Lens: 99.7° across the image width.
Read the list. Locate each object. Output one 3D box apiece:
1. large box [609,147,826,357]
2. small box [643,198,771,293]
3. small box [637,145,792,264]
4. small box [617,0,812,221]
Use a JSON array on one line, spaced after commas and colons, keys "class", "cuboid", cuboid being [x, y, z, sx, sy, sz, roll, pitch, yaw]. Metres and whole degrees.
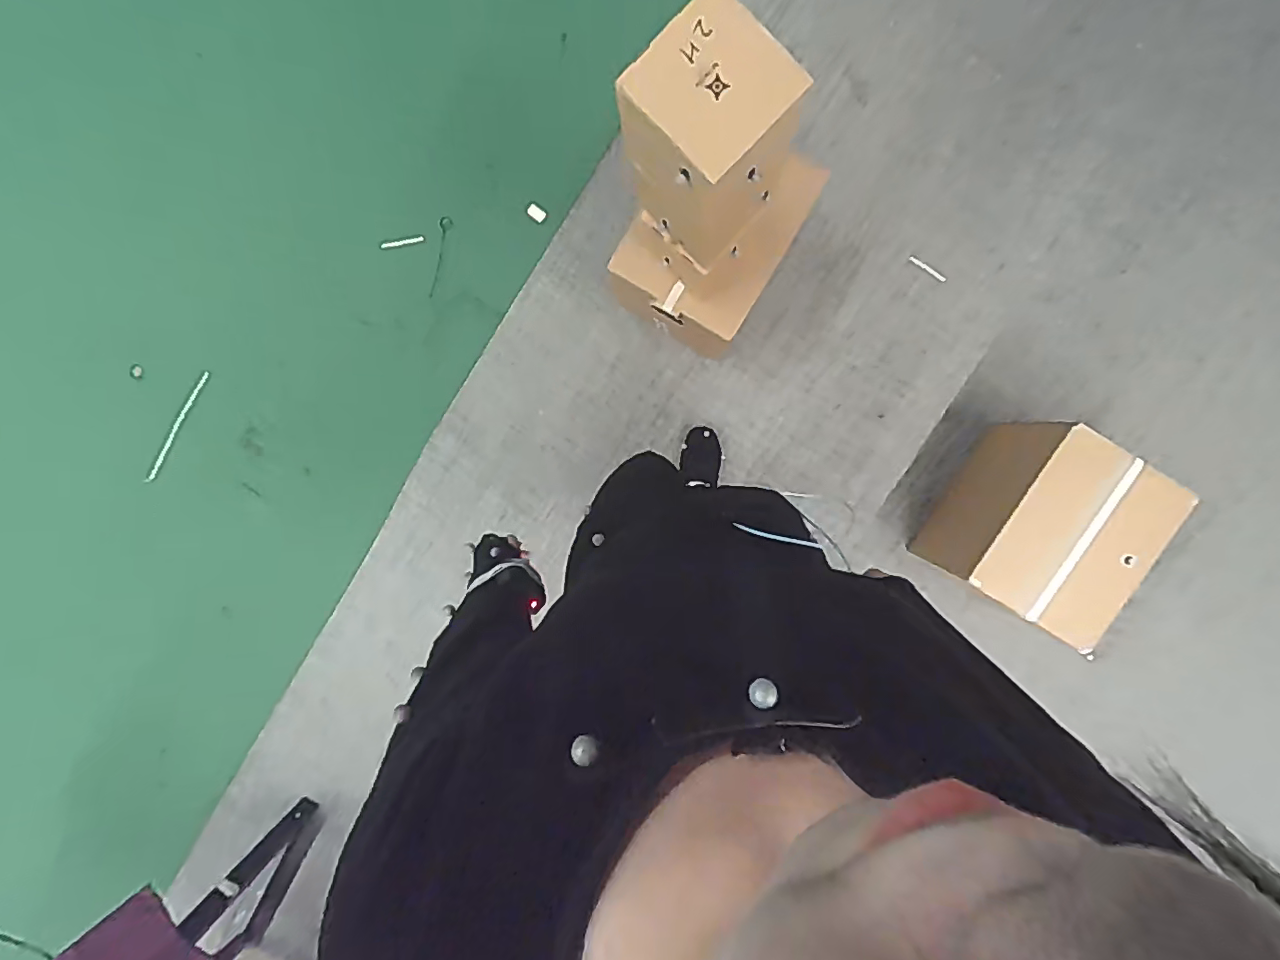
[{"class": "large box", "cuboid": [0.167, -0.559, 1.284, 0.320, 0.320, 0.408, 31, 95, 0]}, {"class": "small box", "cuboid": [0.122, -0.496, 1.048, 0.168, 0.176, 0.179, 42, 96, -1]}, {"class": "small box", "cuboid": [0.114, -0.492, 0.885, 0.179, 0.176, 0.168, -44, 91, 7]}, {"class": "small box", "cuboid": [0.094, -0.479, 0.722, 0.168, 0.176, 0.179, -43, 91, 6]}]
